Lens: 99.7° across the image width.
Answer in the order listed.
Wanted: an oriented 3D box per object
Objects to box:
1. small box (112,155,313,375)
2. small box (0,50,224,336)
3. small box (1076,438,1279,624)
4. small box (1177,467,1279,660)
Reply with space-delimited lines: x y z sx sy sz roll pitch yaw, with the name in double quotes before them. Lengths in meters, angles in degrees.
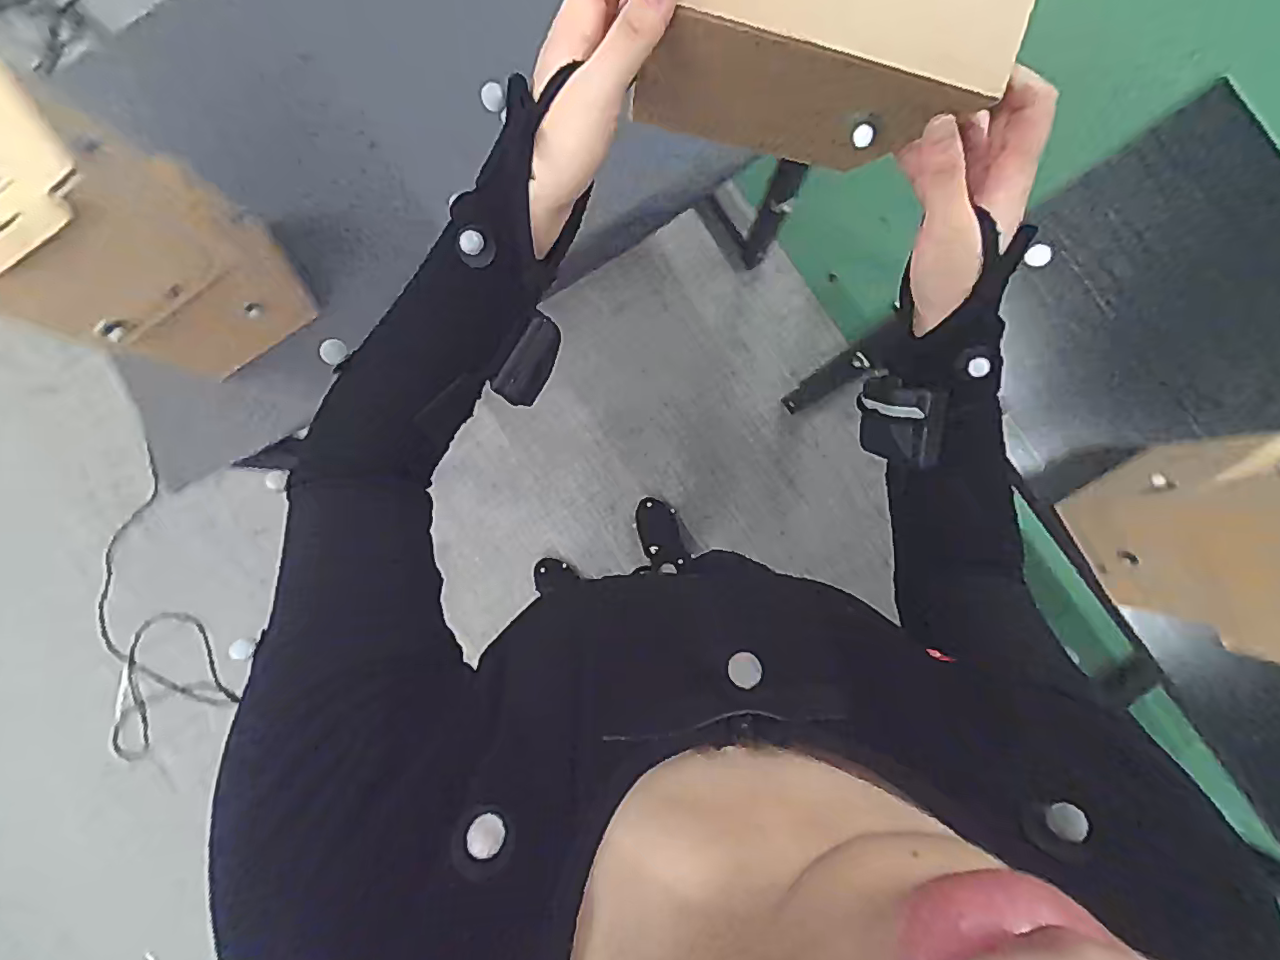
"small box" -0.571 -0.264 0.706 0.179 0.176 0.168 -35 86 -1
"small box" -0.581 -0.267 0.542 0.168 0.176 0.179 -38 85 -2
"small box" 0.709 0.066 0.684 0.179 0.176 0.168 -30 89 -1
"small box" 0.698 0.082 0.521 0.168 0.176 0.179 -22 88 0
